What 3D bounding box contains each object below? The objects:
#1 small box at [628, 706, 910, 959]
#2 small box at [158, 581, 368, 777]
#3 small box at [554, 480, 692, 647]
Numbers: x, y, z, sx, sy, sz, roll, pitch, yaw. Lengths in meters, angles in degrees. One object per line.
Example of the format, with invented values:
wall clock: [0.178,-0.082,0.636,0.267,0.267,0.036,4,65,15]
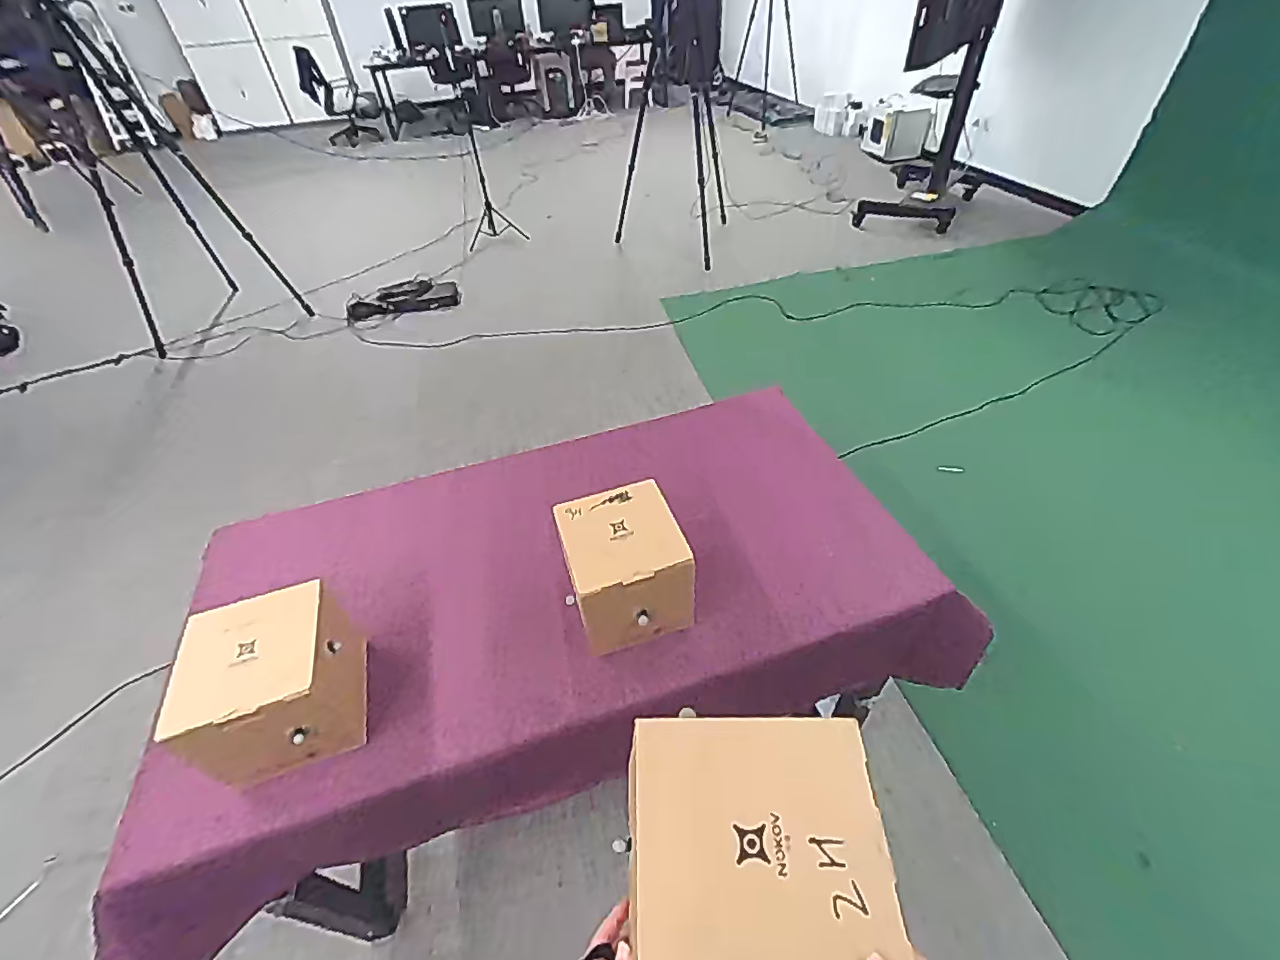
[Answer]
small box: [0.079,0.292,0.438,0.179,0.176,0.168,1,53,-2]
small box: [-0.482,0.273,0.728,0.168,0.176,0.179,-15,45,-12]
small box: [-0.024,0.134,0.833,0.168,0.176,0.179,-15,46,-11]
